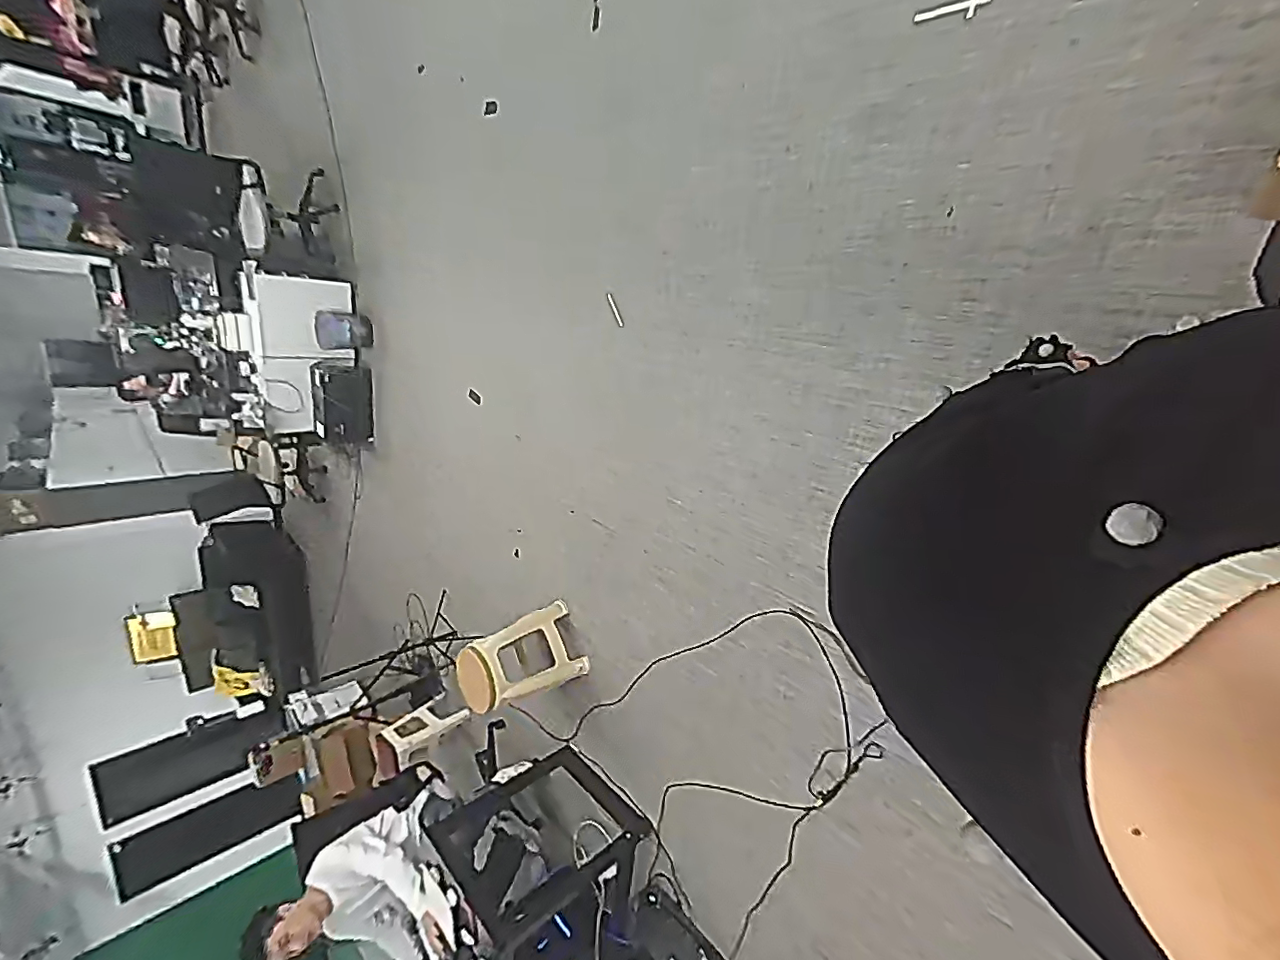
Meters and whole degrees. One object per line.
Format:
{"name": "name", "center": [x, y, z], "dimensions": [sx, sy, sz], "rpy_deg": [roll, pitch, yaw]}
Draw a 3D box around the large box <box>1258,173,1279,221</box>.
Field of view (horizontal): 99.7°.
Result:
{"name": "large box", "center": [1.091, -0.463, 0.620], "dimensions": [0.408, 0.320, 0.320], "rpy_deg": [34, 121, 35]}
